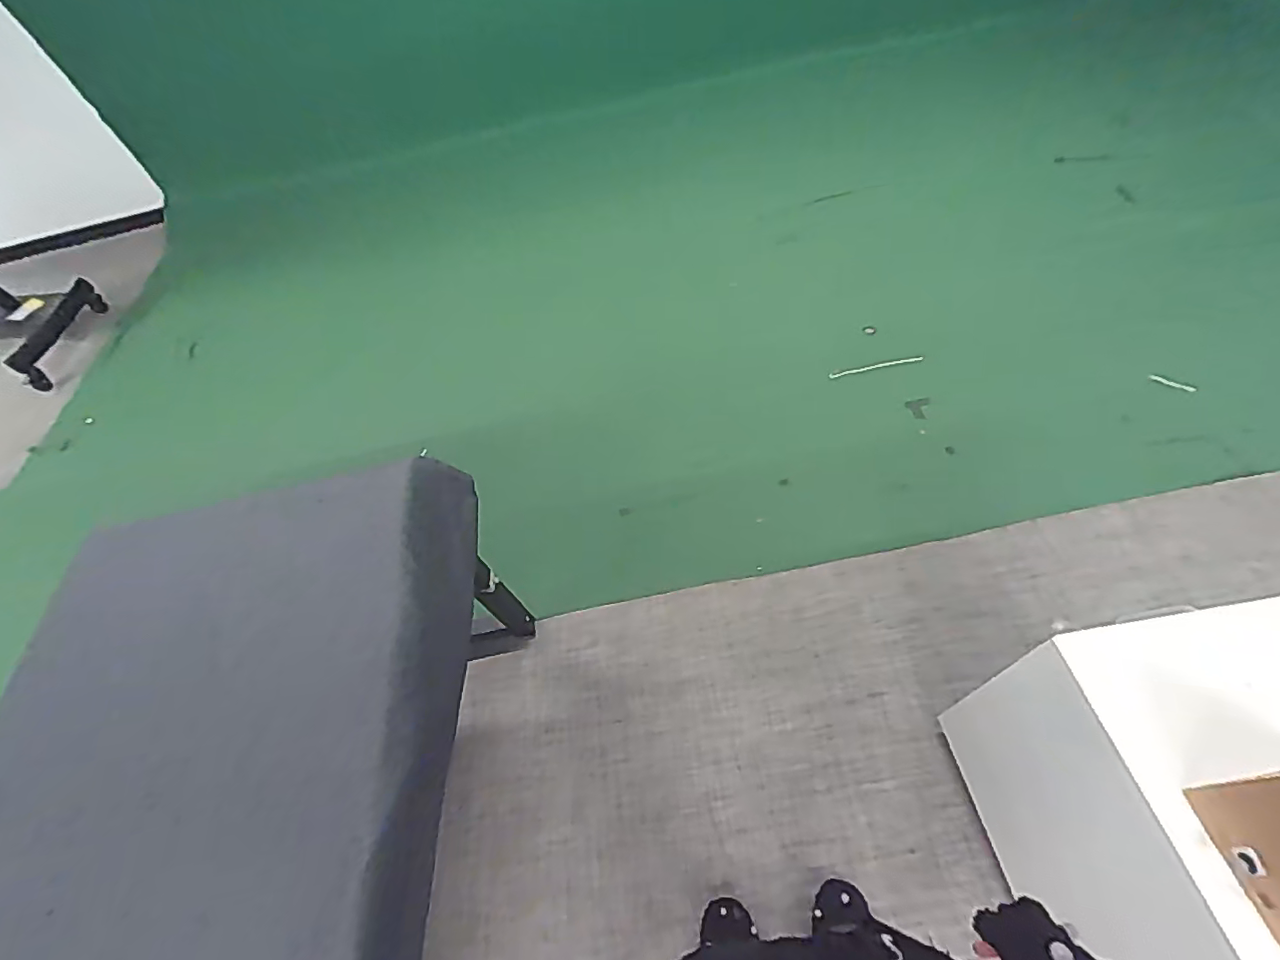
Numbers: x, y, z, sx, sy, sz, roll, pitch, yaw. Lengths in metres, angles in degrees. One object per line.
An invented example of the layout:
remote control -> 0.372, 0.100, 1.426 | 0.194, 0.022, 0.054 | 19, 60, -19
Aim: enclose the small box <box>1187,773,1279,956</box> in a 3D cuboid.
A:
small box -> 0.705, 0.365, 0.511 | 0.179, 0.176, 0.168 | -14, 54, 3
